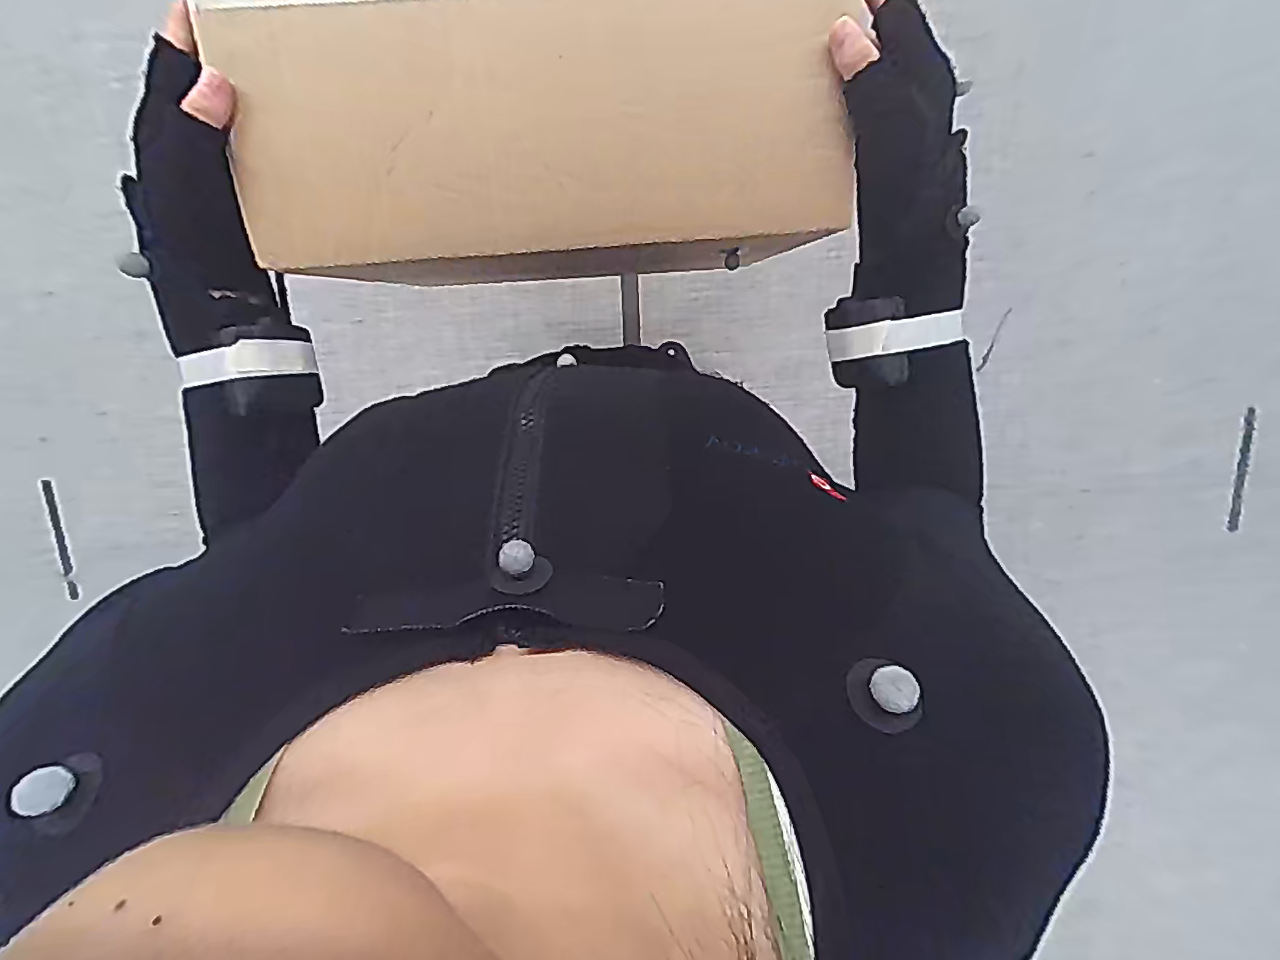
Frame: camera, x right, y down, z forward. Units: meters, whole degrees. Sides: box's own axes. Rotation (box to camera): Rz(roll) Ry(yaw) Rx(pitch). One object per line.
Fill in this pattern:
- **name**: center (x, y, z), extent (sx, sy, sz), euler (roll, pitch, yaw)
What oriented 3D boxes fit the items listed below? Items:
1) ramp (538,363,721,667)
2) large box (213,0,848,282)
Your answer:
- **ramp**: center (0.000, 0.158, 1.628), extent (0.509, 0.206, 0.991), euler (-5, 103, 1)
- **large box**: center (-0.069, -0.355, 0.476), extent (0.408, 0.320, 0.320), euler (-4, 107, 0)
